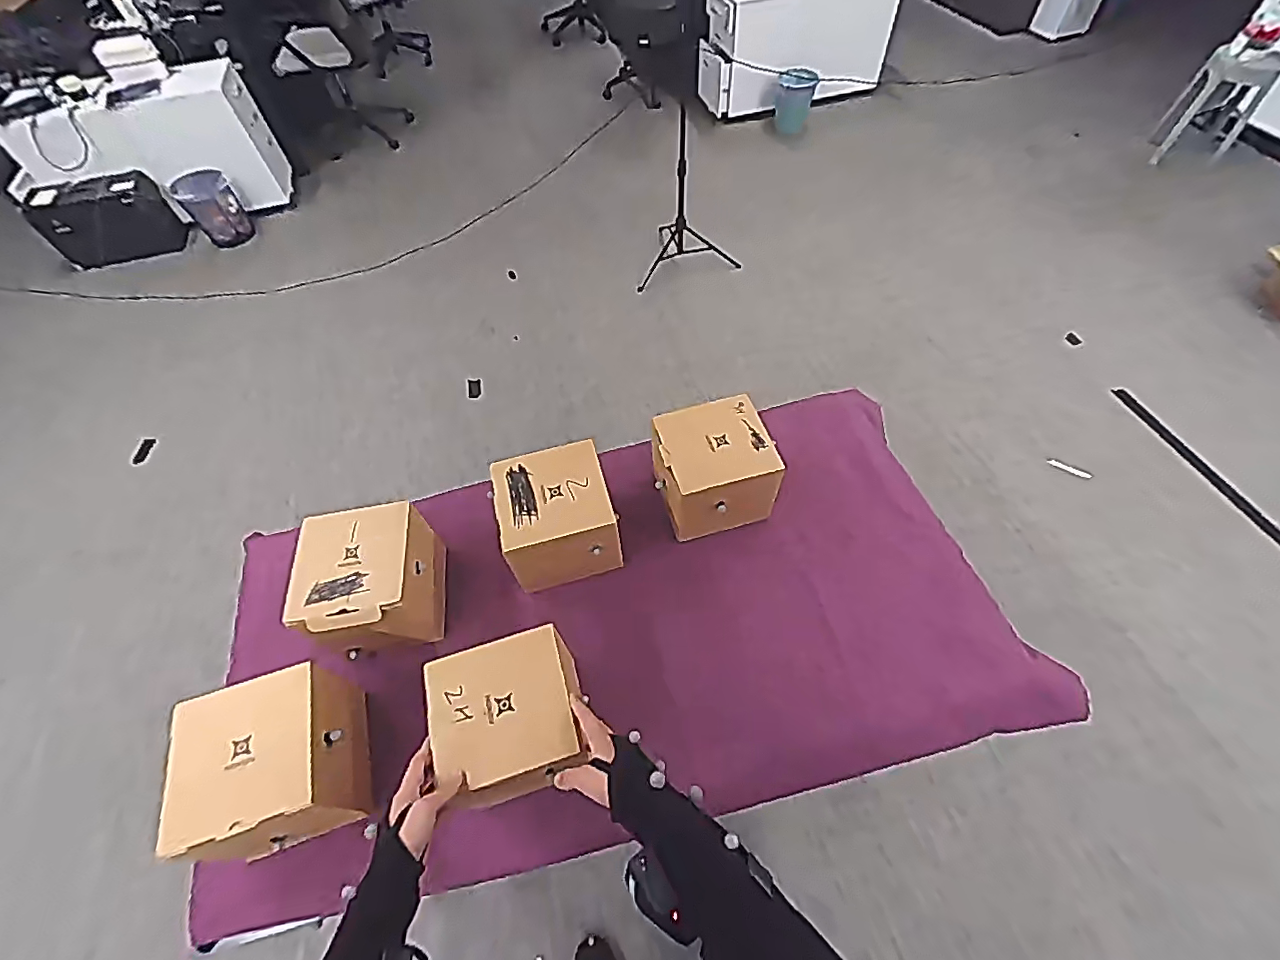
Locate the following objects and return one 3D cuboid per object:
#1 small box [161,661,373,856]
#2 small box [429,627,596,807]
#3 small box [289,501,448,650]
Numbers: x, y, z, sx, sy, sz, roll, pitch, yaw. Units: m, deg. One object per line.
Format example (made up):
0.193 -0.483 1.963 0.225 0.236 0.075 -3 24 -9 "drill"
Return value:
-0.474 0.371 0.716 0.168 0.176 0.179 -17 57 -10 "small box"
-0.163 0.323 0.731 0.179 0.176 0.168 -16 57 -6 "small box"
-0.413 0.159 0.857 0.168 0.176 0.179 -9 56 -4 "small box"
